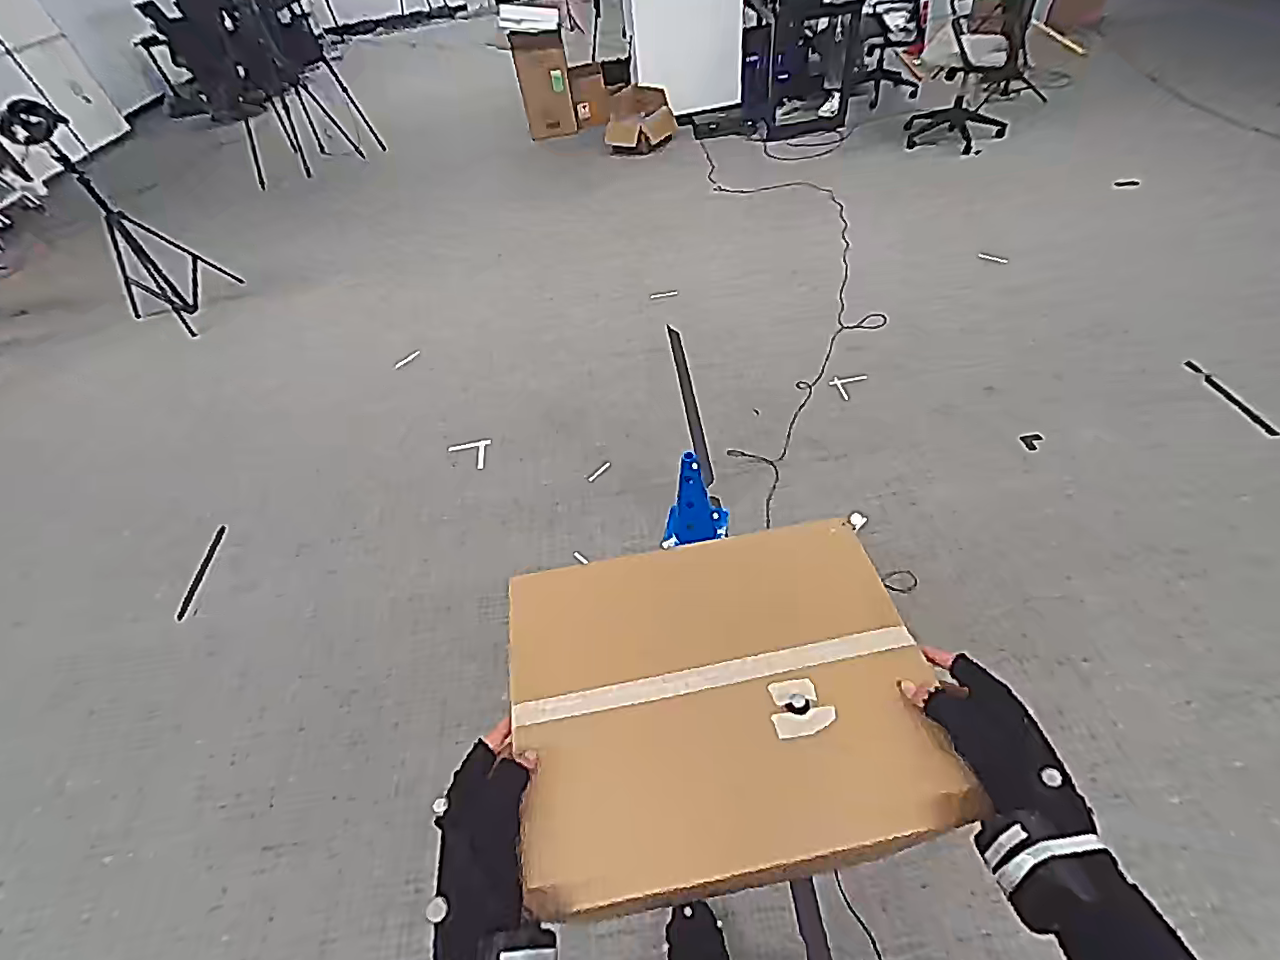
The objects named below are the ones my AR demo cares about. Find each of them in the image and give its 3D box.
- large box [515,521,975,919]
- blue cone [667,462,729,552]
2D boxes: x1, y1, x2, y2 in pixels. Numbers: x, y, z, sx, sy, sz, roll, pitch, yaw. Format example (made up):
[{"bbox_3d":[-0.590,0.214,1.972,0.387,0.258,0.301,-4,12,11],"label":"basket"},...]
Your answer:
[{"bbox_3d":[0.082,0.294,0.663,0.408,0.320,0.320,-10,50,-4],"label":"large box"},{"bbox_3d":[0.171,0.075,1.676,0.193,0.380,0.192,6,51,16],"label":"blue cone"}]
